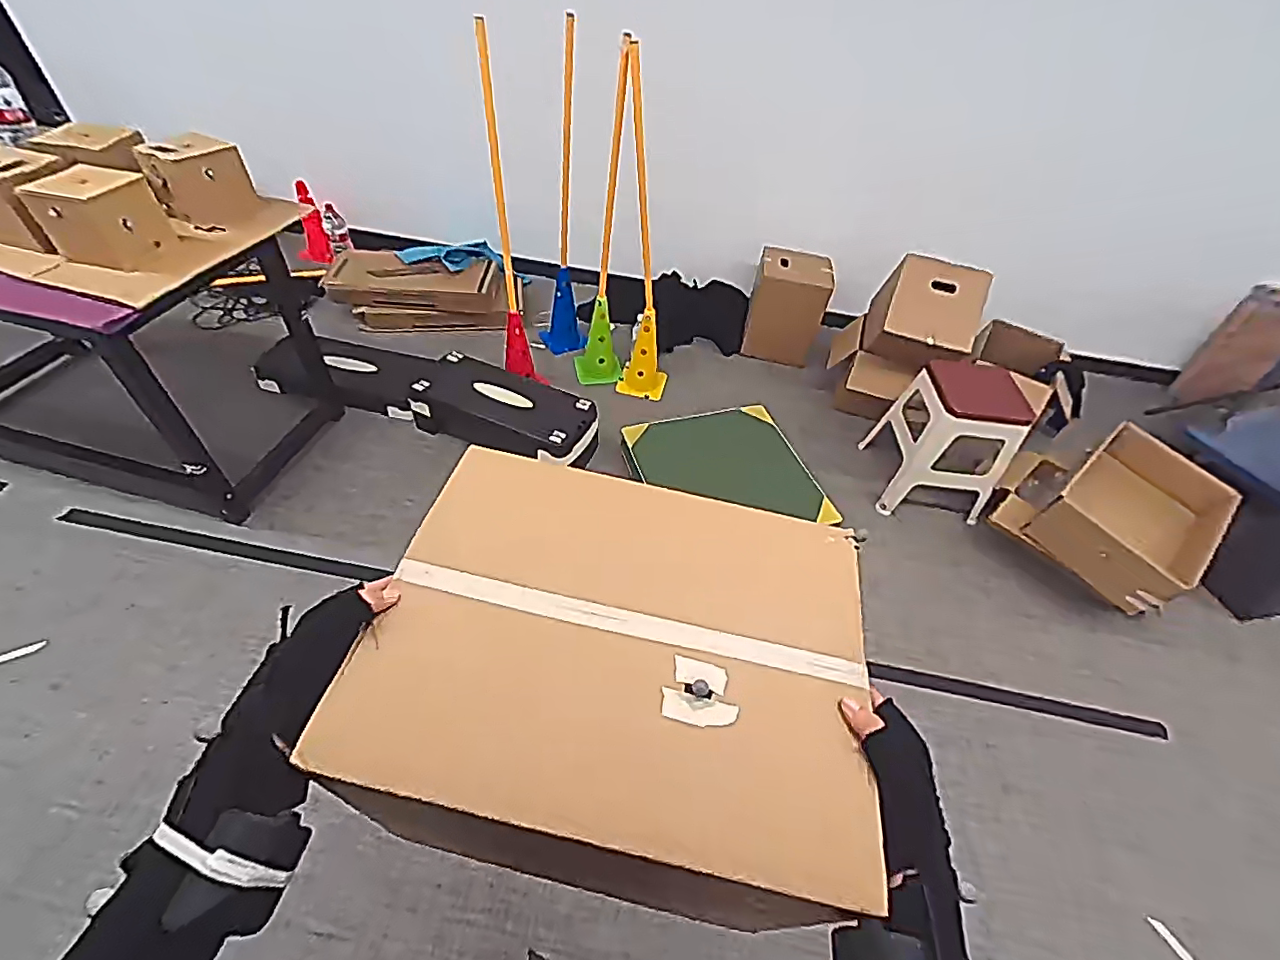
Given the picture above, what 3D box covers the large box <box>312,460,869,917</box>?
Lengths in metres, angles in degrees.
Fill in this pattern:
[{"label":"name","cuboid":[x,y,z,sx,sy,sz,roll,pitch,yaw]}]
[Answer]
[{"label":"large box","cuboid":[-0.031,0.225,0.578,0.408,0.320,0.320,13,49,2]}]
